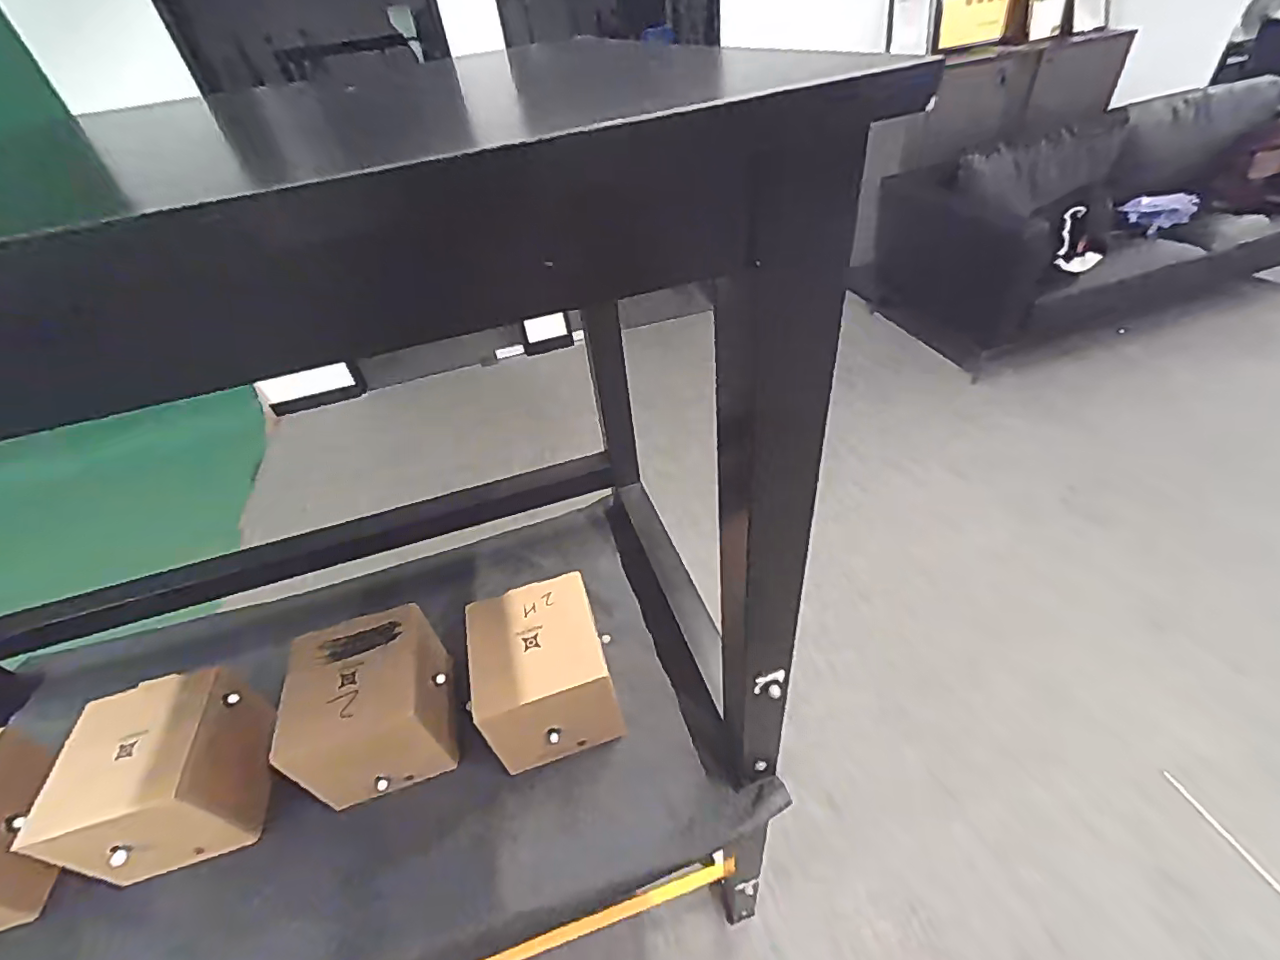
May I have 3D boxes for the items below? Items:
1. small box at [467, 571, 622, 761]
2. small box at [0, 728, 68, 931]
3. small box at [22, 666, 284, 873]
[{"bbox_3d":[-0.131,0.265,0.757,0.168,0.176,0.179,-16,42,-8],"label":"small box"},{"bbox_3d":[-0.846,0.448,0.669,0.168,0.176,0.179,-15,42,-8],"label":"small box"},{"bbox_3d":[-0.605,0.382,0.708,0.168,0.176,0.179,-15,42,-8],"label":"small box"}]
